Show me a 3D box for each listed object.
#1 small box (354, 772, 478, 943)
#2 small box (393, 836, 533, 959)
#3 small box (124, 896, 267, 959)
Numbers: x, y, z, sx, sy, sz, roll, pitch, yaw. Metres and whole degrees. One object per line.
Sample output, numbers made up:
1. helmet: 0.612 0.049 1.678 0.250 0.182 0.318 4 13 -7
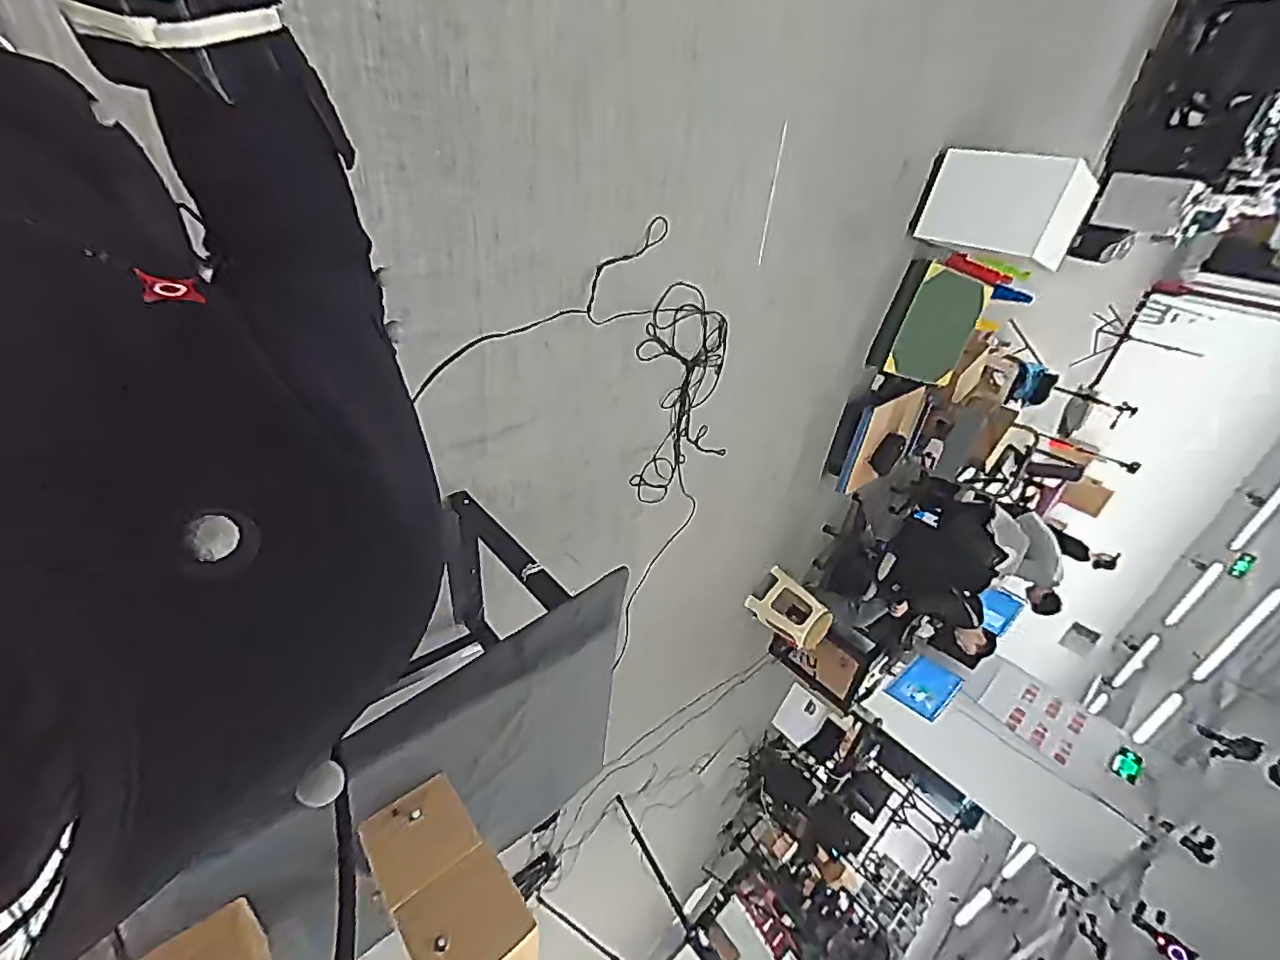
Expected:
1. small box: -0.414 0.696 1.016 0.168 0.176 0.179 -21 131 -37
2. small box: -0.302 0.768 0.922 0.179 0.176 0.168 -23 134 -37
3. small box: -0.665 0.782 0.807 0.179 0.176 0.168 -19 131 -38
